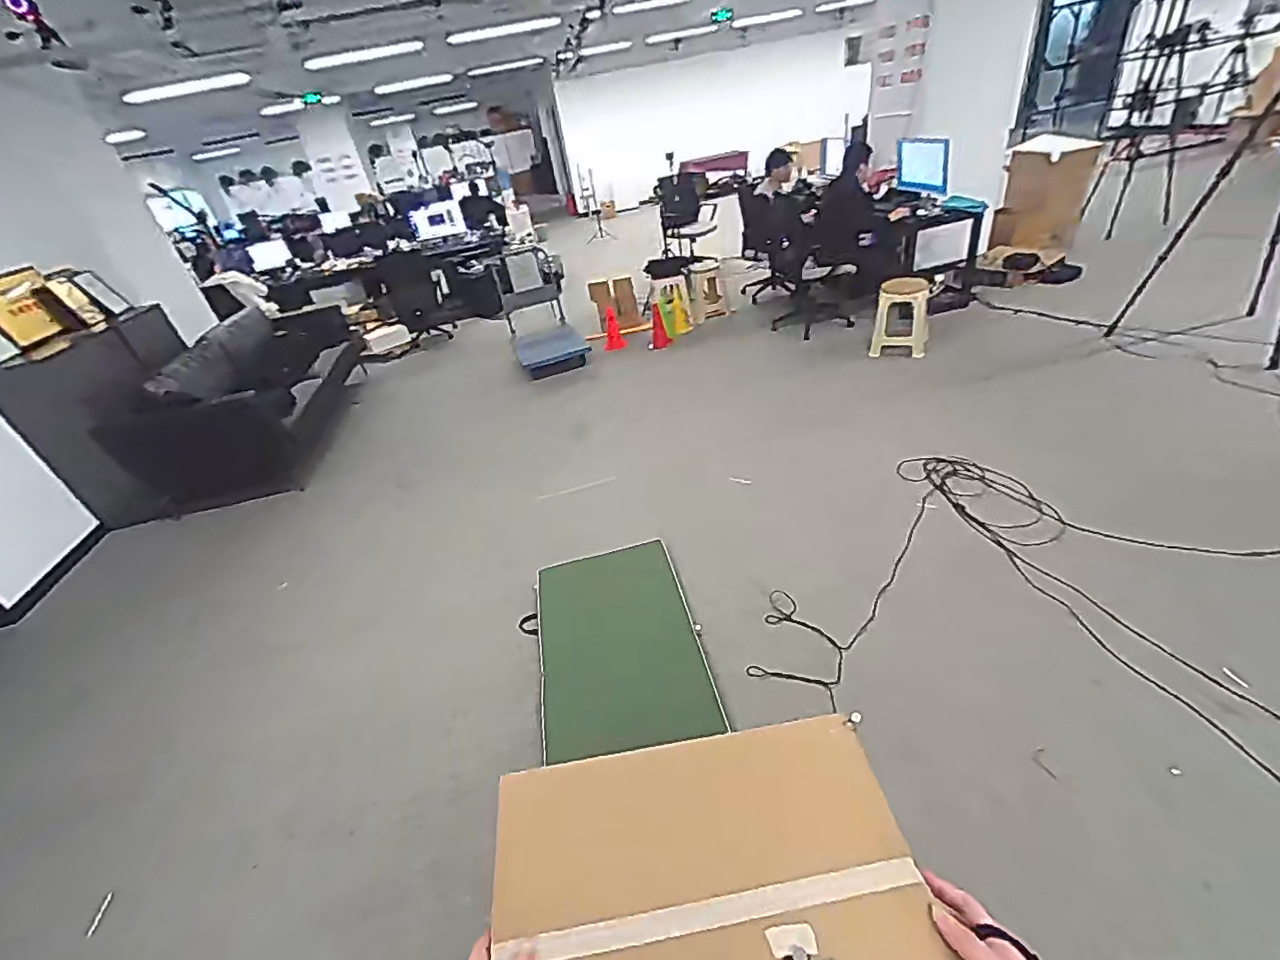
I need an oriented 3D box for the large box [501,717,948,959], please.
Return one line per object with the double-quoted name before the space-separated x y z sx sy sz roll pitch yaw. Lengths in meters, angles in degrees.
"large box" 0.075 0.522 0.610 0.408 0.320 0.320 -8 42 -5
